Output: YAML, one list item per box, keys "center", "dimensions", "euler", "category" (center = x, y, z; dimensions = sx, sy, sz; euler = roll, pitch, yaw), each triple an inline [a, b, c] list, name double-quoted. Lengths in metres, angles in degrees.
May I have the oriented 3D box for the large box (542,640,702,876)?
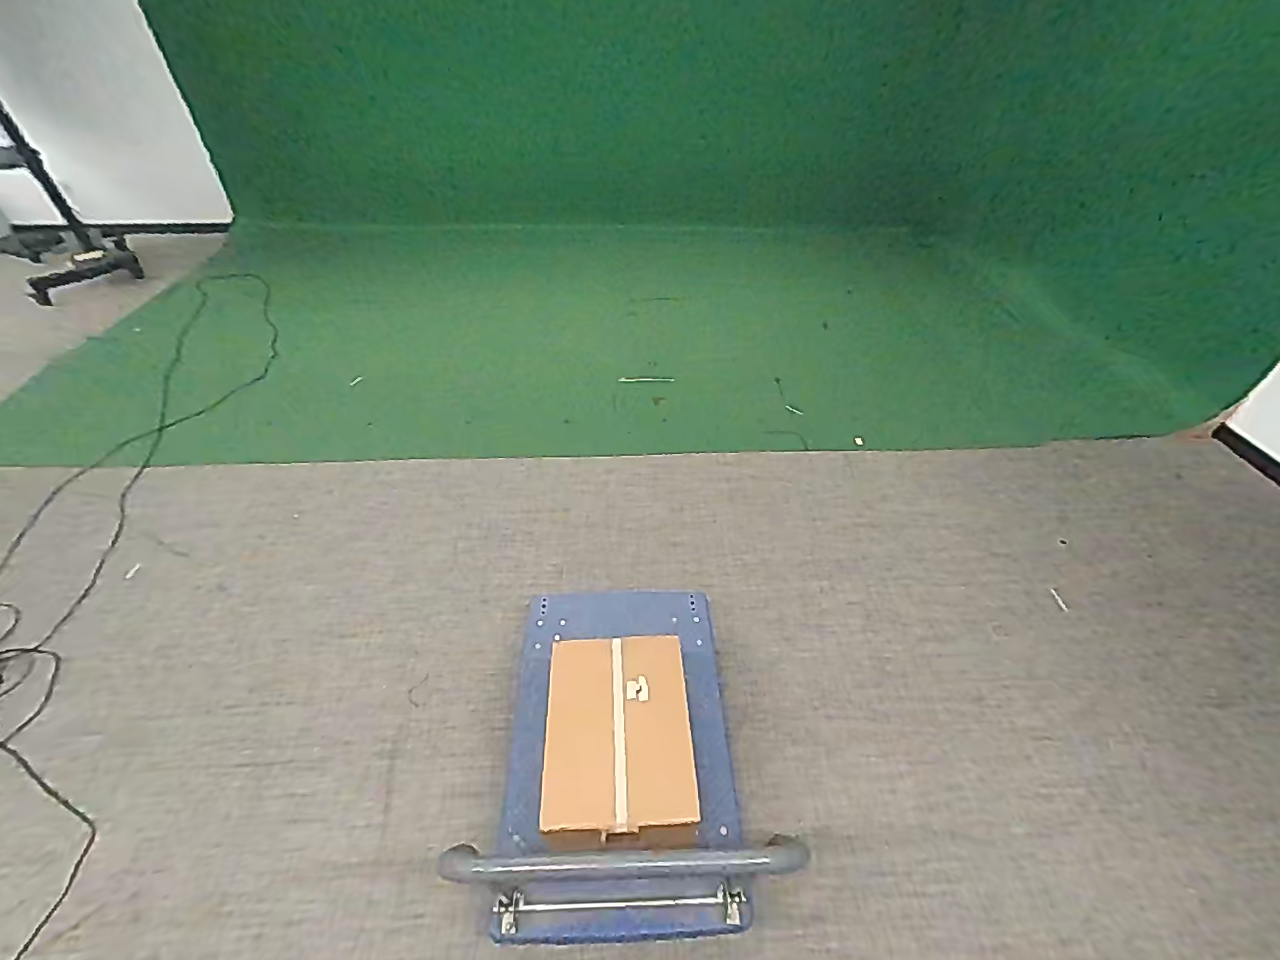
- center: [-0.047, 0.644, 1.271]
  dimensions: [0.320, 0.320, 0.408]
  euler: [-1, 42, -3]
  category: "large box"
